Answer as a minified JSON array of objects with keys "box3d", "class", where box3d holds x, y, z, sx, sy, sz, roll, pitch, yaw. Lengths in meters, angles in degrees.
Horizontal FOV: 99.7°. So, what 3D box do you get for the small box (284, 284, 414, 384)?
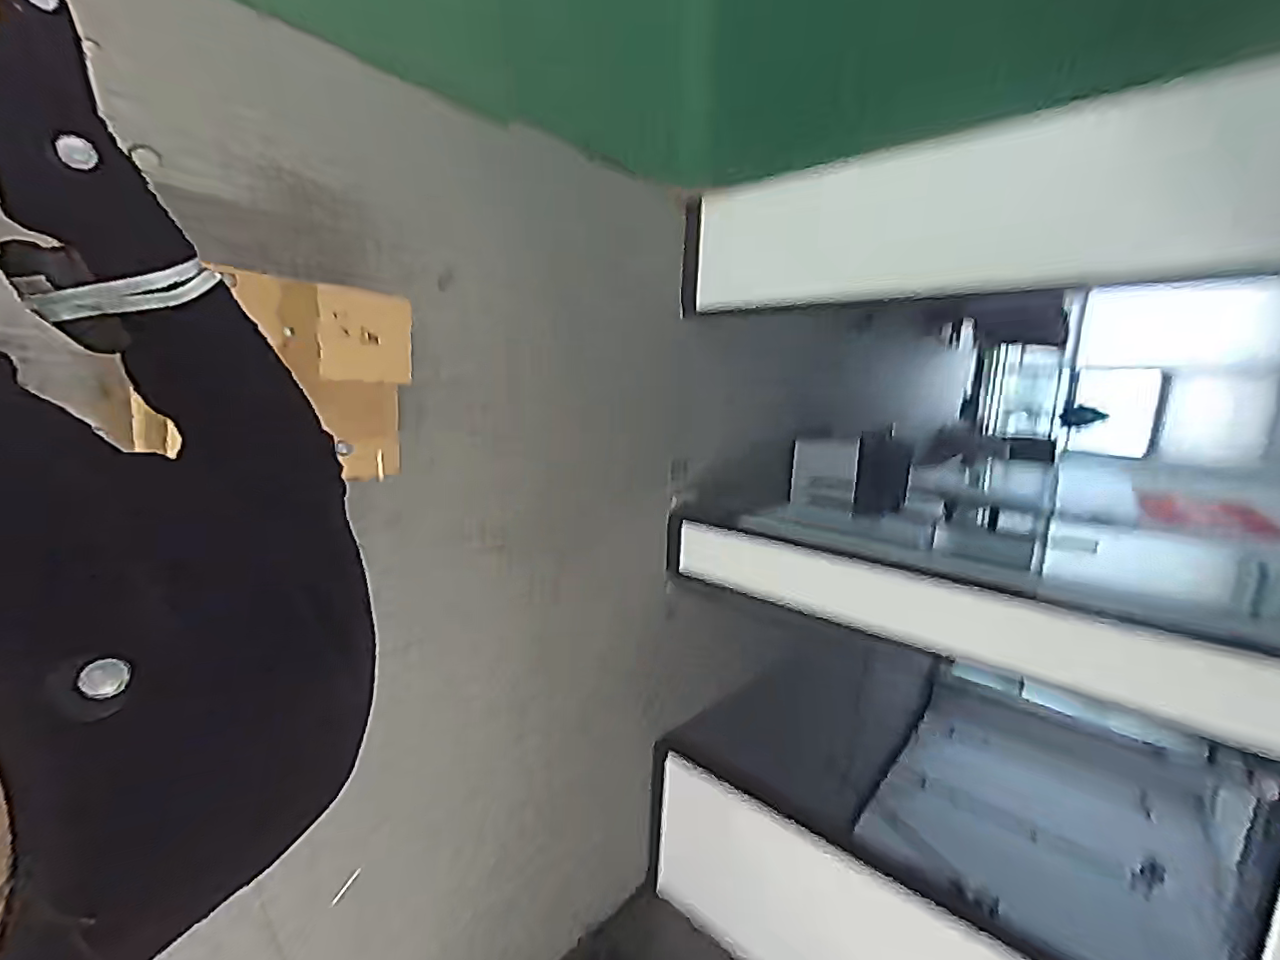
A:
[{"box3d":[-0.572,-0.279,1.068,0.179,0.176,0.168,-7,102,-52],"class":"small box"}]
